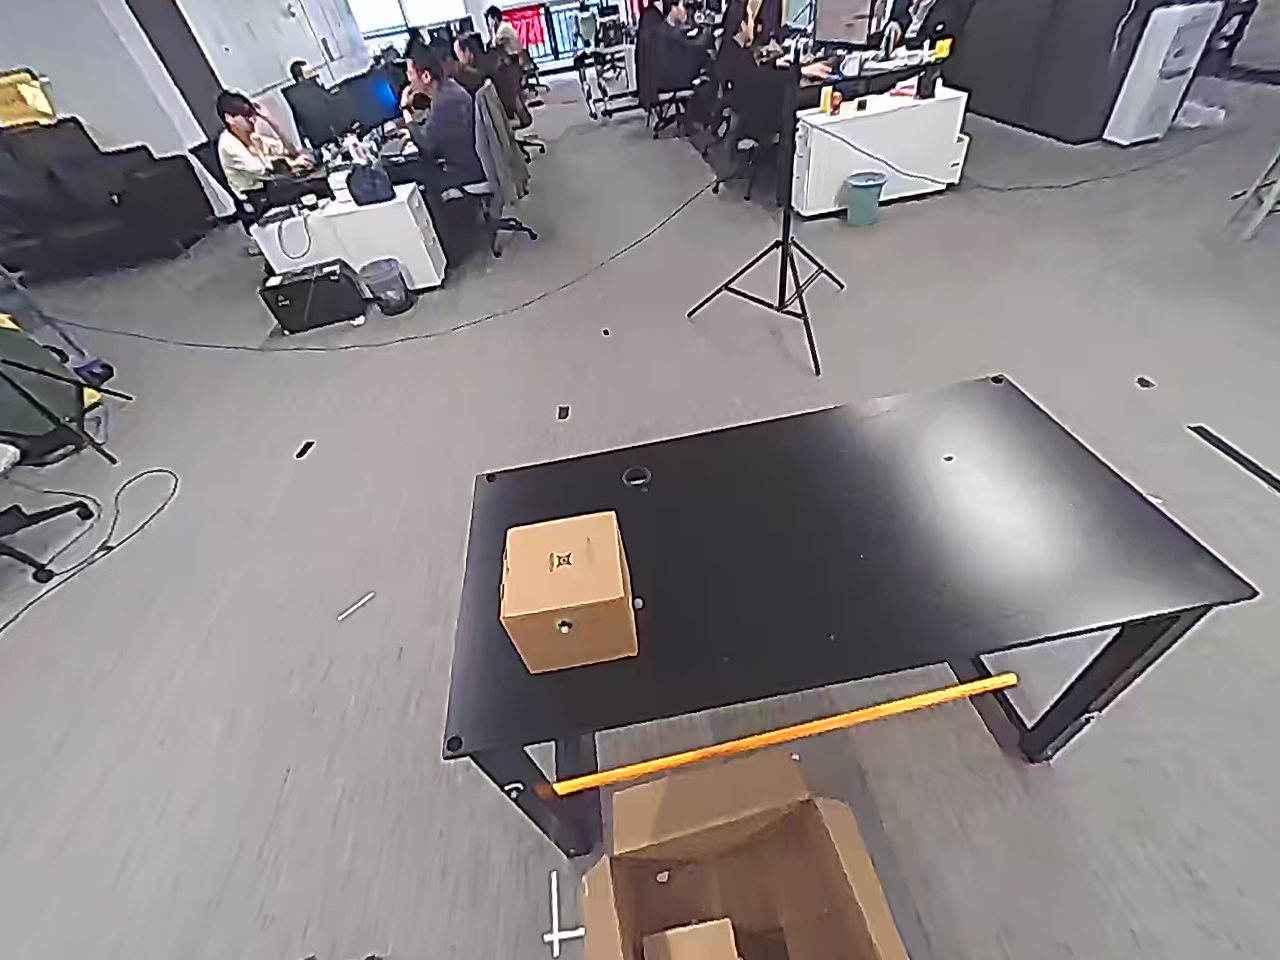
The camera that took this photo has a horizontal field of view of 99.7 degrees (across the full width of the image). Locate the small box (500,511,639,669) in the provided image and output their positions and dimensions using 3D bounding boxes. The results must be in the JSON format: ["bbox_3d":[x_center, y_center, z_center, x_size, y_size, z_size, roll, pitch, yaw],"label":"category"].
[{"bbox_3d":[-0.105,0.176,0.847,0.179,0.176,0.168,-10,45,-1],"label":"small box"}]
